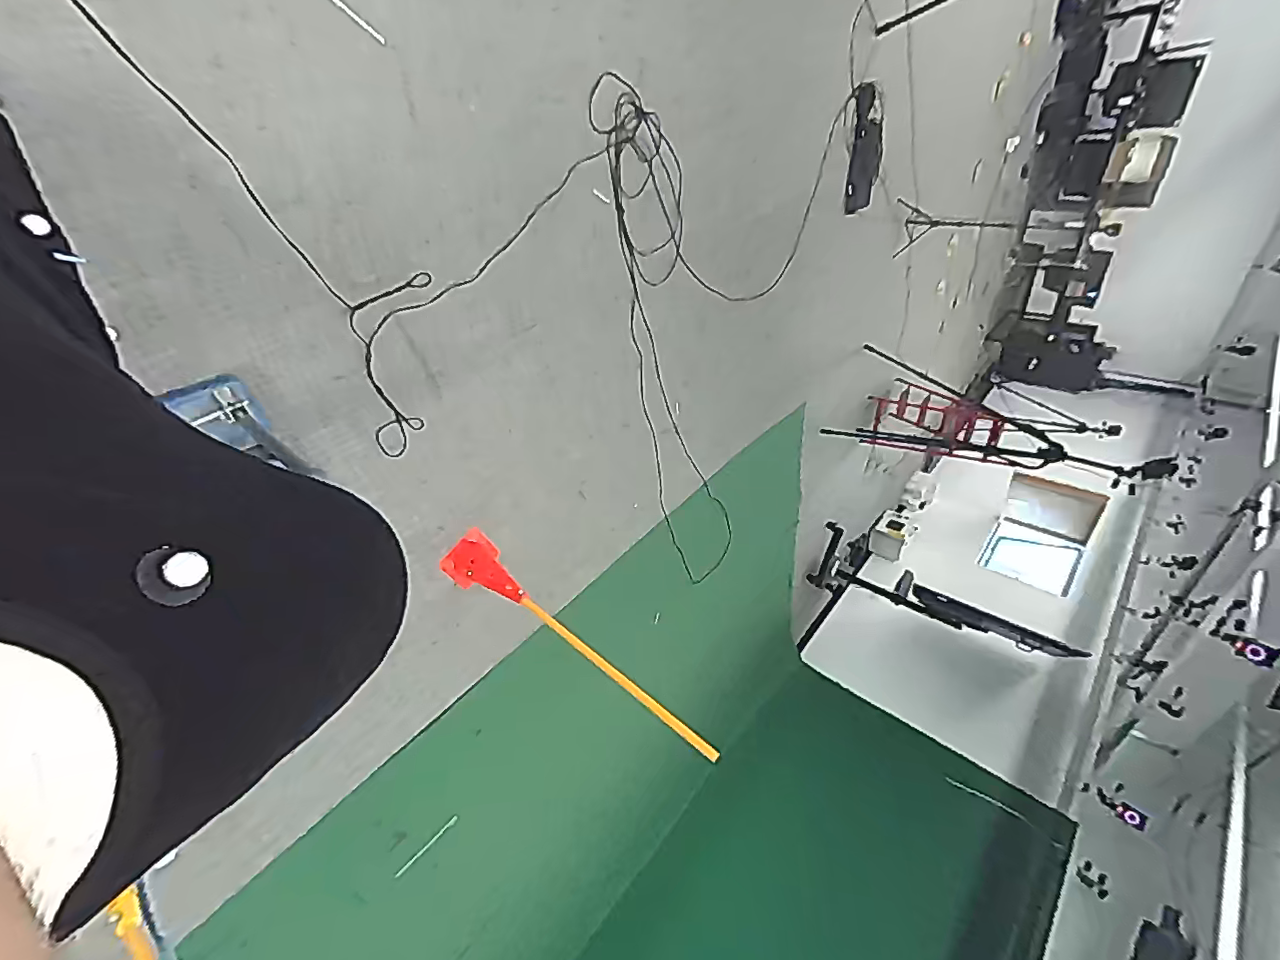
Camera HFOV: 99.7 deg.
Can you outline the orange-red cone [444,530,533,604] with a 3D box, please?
[{"bbox_3d":[-0.522,0.363,2.004,0.199,0.360,0.198,-50,142,-22],"label":"orange-red cone"}]
